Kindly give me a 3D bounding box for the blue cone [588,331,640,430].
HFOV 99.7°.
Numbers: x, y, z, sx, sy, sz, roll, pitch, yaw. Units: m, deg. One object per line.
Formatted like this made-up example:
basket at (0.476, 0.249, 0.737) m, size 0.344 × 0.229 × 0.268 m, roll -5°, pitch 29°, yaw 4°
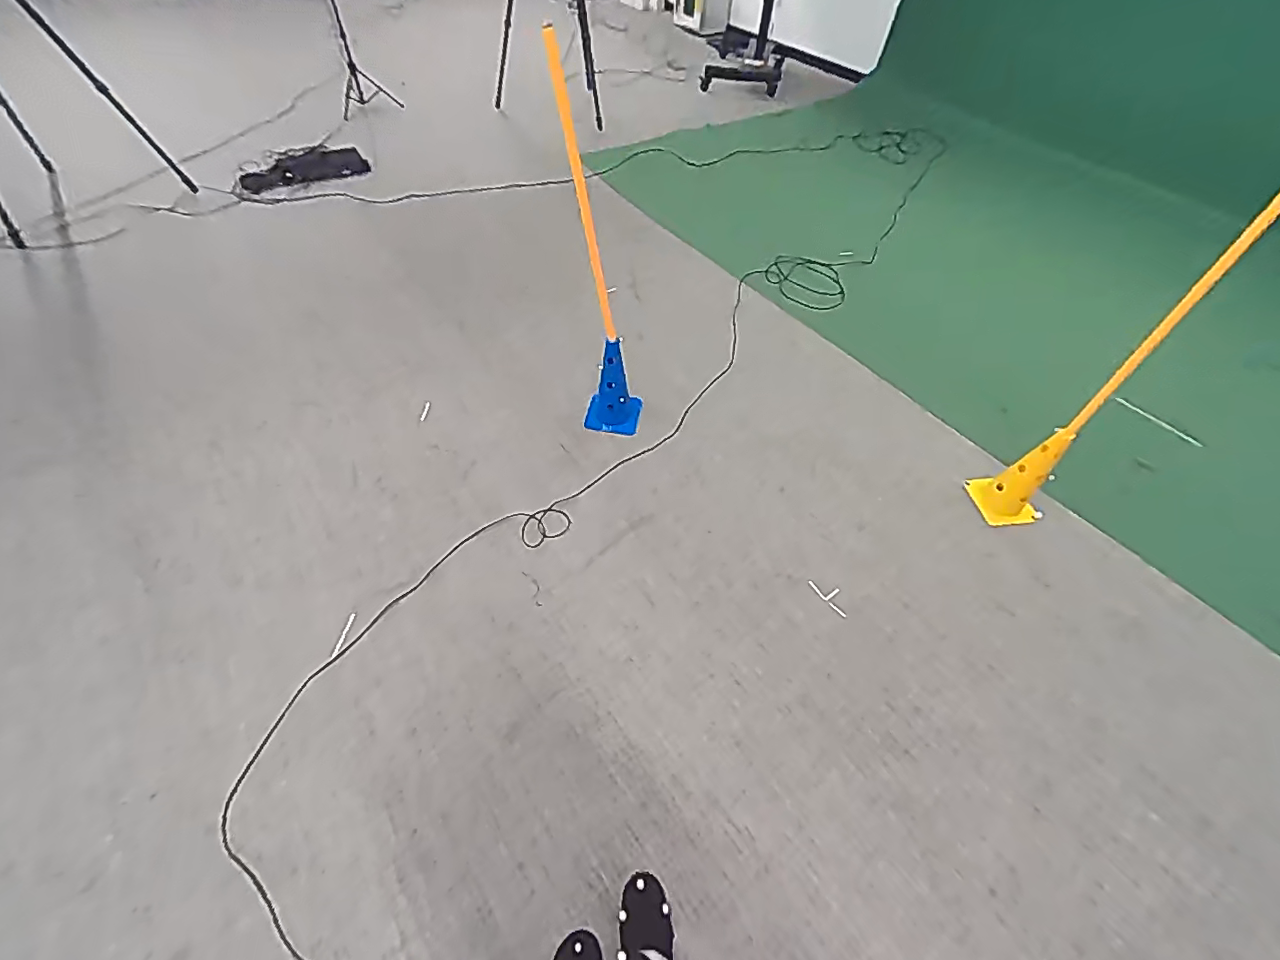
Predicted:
blue cone at (-0.096, -0.365, 1.941) m, size 0.193 × 0.380 × 0.192 m, roll 7°, pitch 53°, yaw 4°
